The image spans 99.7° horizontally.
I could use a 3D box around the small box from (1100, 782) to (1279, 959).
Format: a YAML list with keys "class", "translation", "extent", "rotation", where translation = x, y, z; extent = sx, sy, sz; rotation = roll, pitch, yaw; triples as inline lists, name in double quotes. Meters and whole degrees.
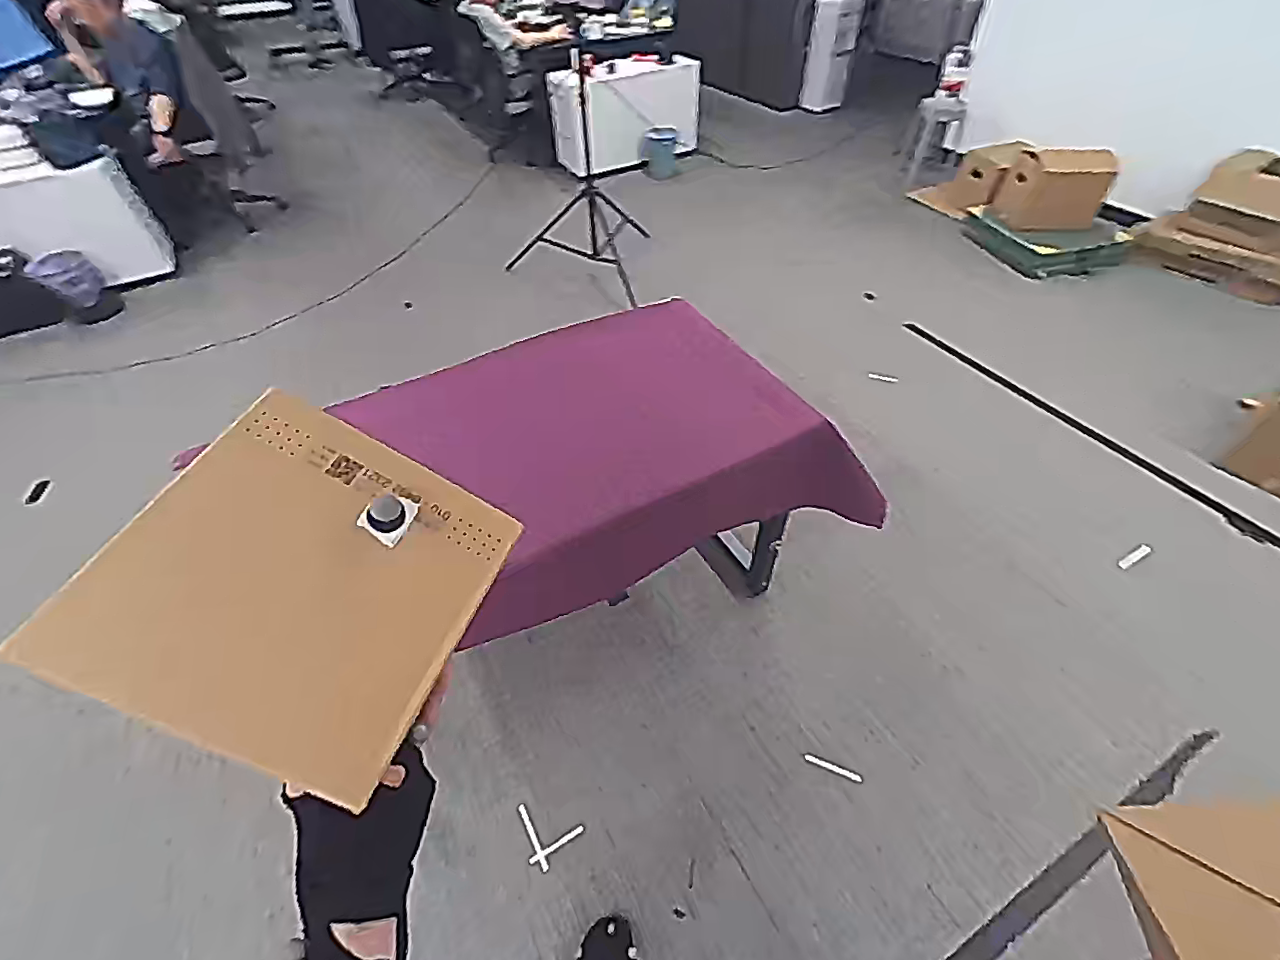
- class: "small box"
  translation: [0.346, 0.255, 0.233]
  extent: [0.168, 0.179, 0.176]
  rotation: [-22, 85, 25]

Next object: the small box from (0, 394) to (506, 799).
- class: "small box"
  translation: [-0.206, 0.080, 0.353]
  extent: [0.168, 0.179, 0.176]
  rotation: [28, 57, -9]
